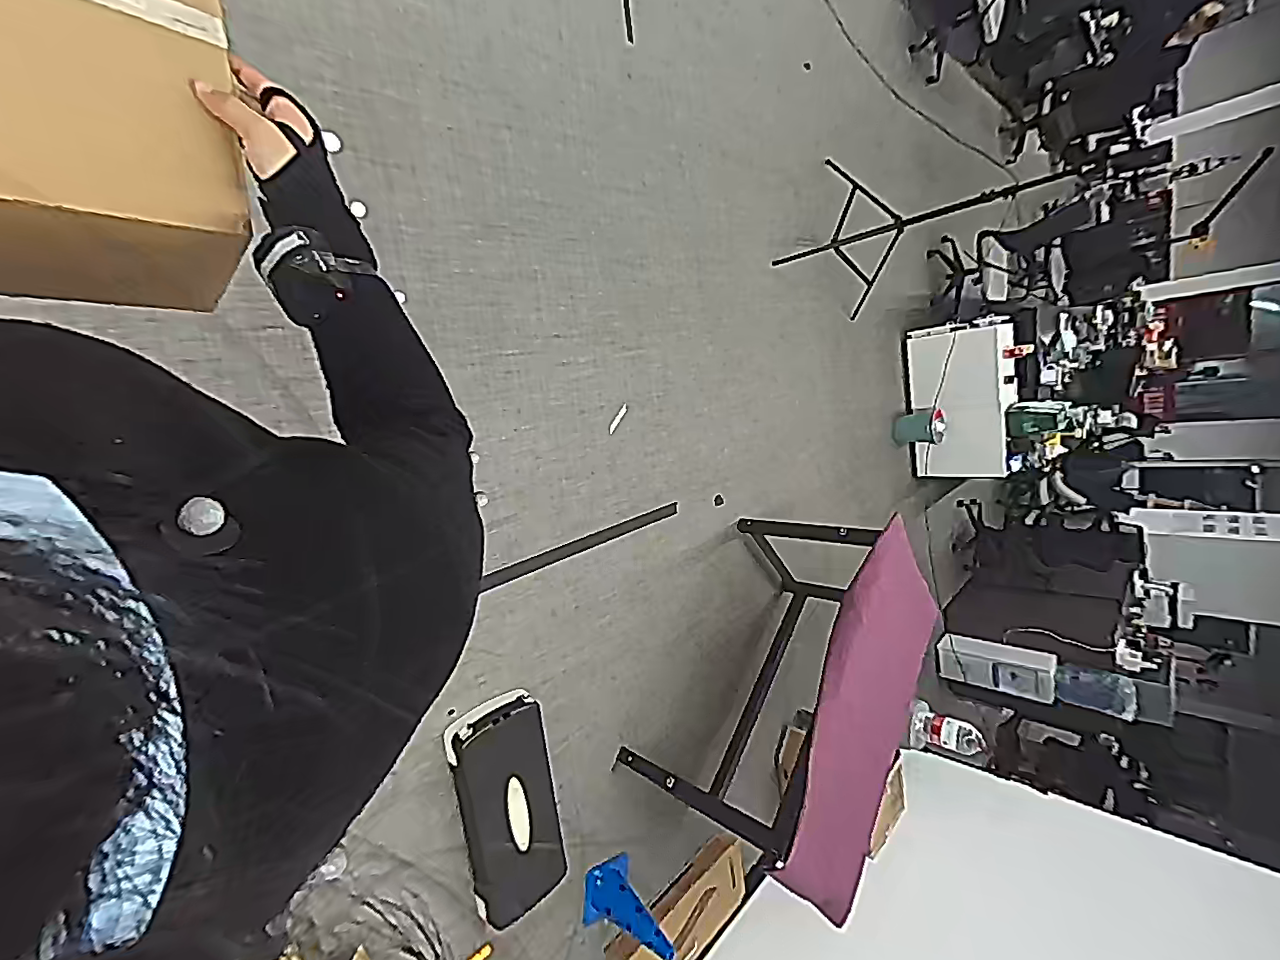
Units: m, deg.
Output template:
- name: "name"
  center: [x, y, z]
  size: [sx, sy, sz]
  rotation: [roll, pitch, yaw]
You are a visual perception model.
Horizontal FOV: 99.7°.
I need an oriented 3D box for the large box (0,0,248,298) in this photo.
- name: "large box"
  center: [-0.596, -0.345, 0.429]
  size: [0.408, 0.320, 0.320]
  rotation: [-10, 97, -43]
